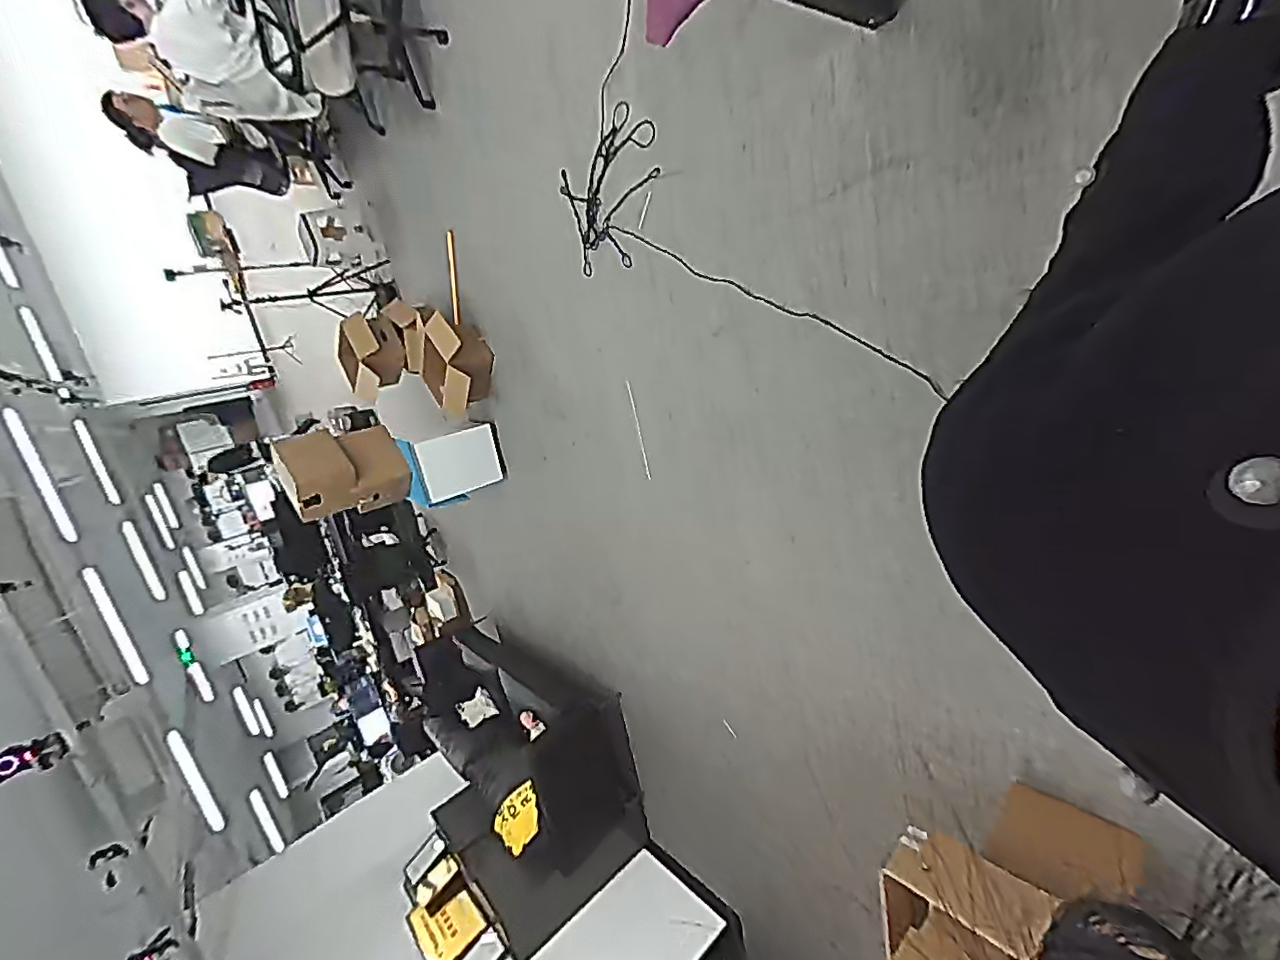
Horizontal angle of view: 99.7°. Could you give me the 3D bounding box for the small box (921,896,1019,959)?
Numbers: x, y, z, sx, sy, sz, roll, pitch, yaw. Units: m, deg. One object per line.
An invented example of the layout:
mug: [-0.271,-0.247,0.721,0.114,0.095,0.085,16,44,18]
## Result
small box: [0.810,1.195,1.335,0.168,0.176,0.179,15,119,49]

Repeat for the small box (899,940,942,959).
small box: [0.677,1.239,1.251,0.179,0.176,0.168,14,117,50]
